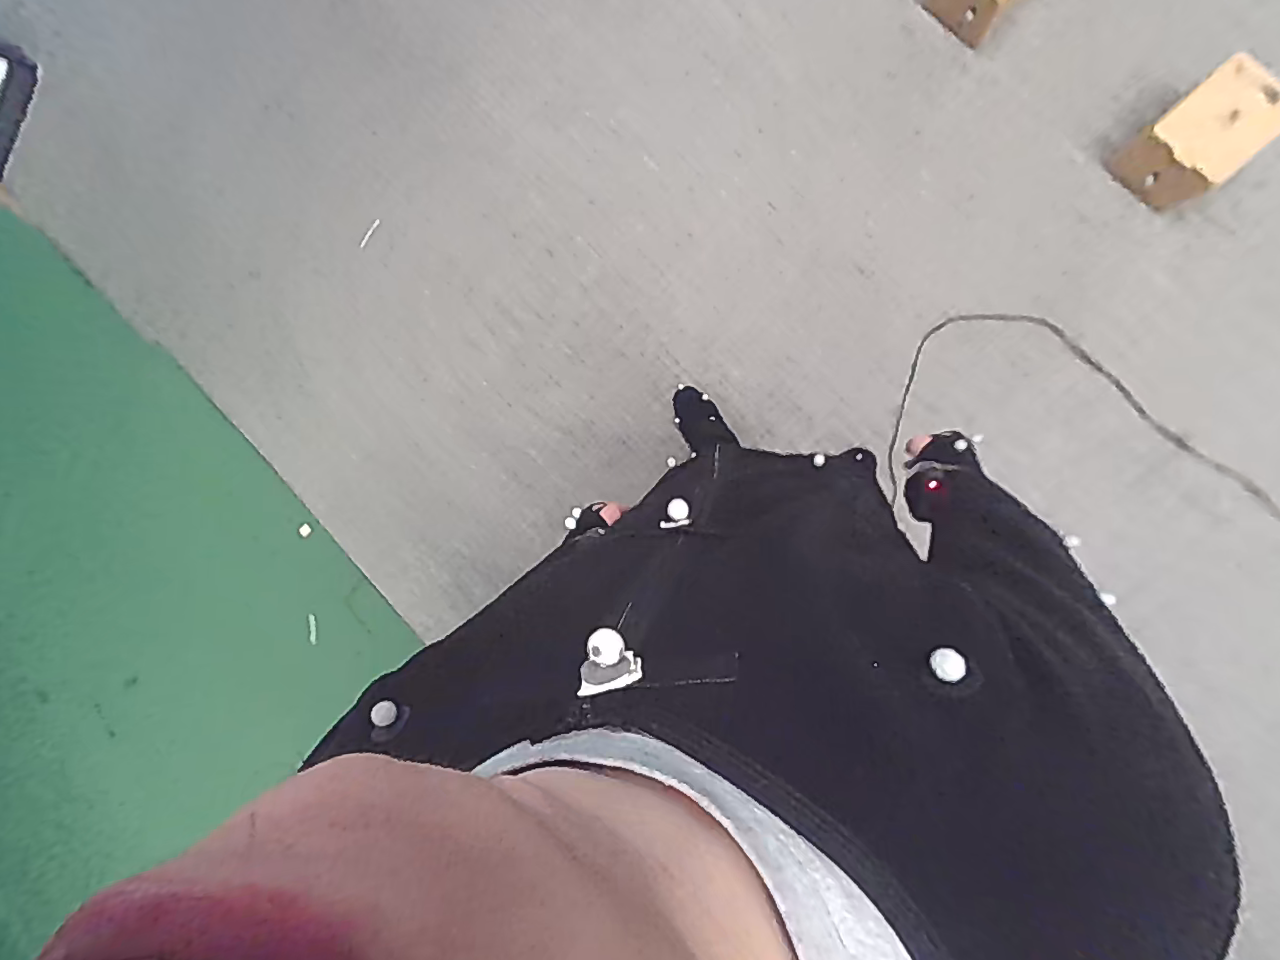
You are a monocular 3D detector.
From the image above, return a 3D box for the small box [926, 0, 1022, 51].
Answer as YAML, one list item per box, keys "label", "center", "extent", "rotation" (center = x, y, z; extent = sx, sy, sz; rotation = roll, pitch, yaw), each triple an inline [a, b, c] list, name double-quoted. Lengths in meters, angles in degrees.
- label: "small box"
  center: [0.740, -1.078, 1.149]
  extent: [0.168, 0.176, 0.179]
  rotation: [45, 105, 5]

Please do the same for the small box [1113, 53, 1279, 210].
- label: "small box"
  center: [1.118, -0.688, 1.094]
  extent: [0.168, 0.176, 0.179]
  rotation: [46, 107, 6]
